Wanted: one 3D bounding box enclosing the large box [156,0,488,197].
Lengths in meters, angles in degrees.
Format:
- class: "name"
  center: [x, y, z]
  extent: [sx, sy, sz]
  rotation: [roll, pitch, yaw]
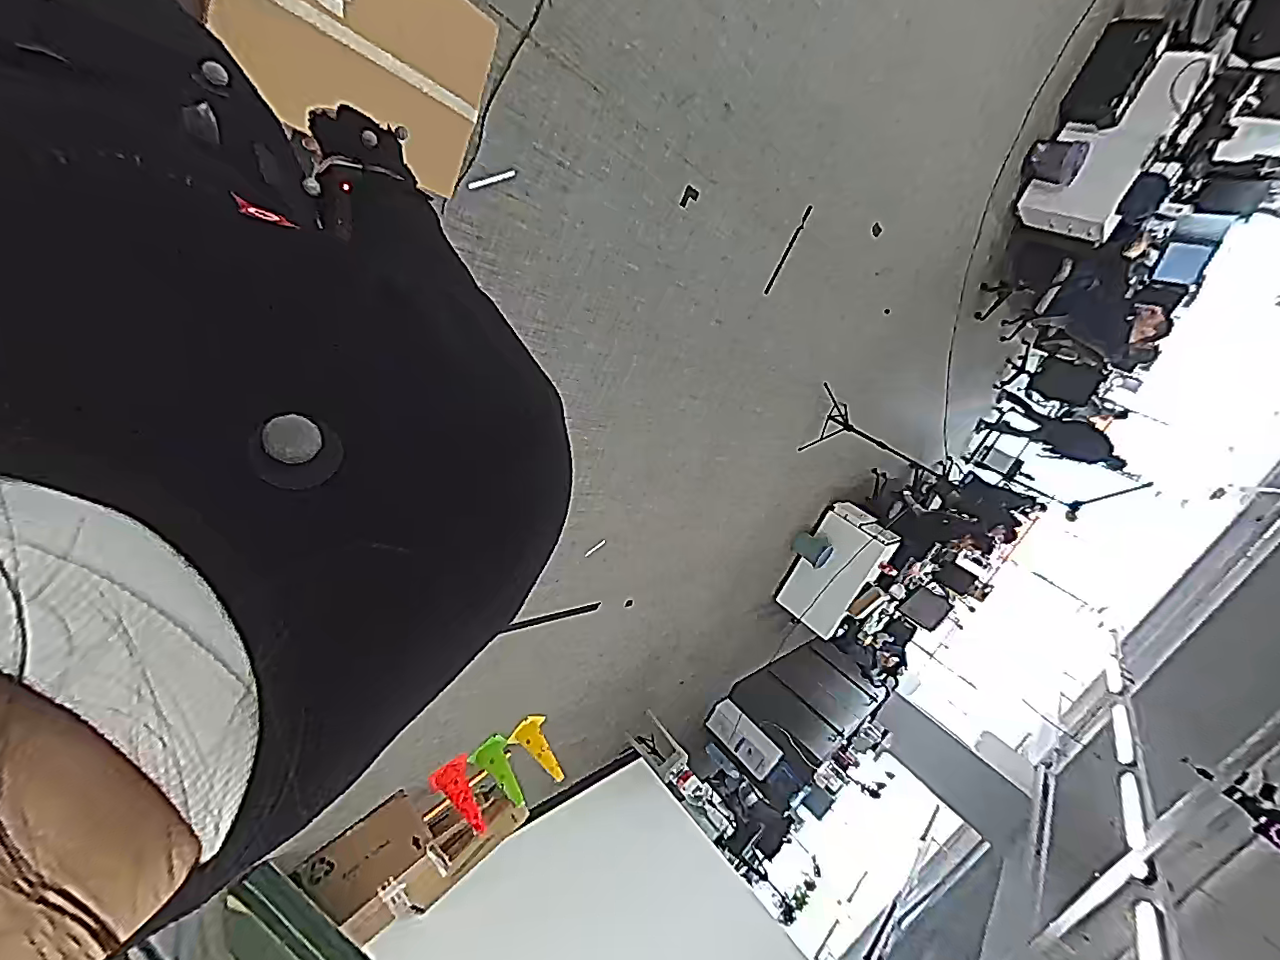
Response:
- class: "large box"
  center: [-0.555, -0.764, 0.954]
  extent: [0.408, 0.320, 0.320]
  rotation: [3, 117, -49]
